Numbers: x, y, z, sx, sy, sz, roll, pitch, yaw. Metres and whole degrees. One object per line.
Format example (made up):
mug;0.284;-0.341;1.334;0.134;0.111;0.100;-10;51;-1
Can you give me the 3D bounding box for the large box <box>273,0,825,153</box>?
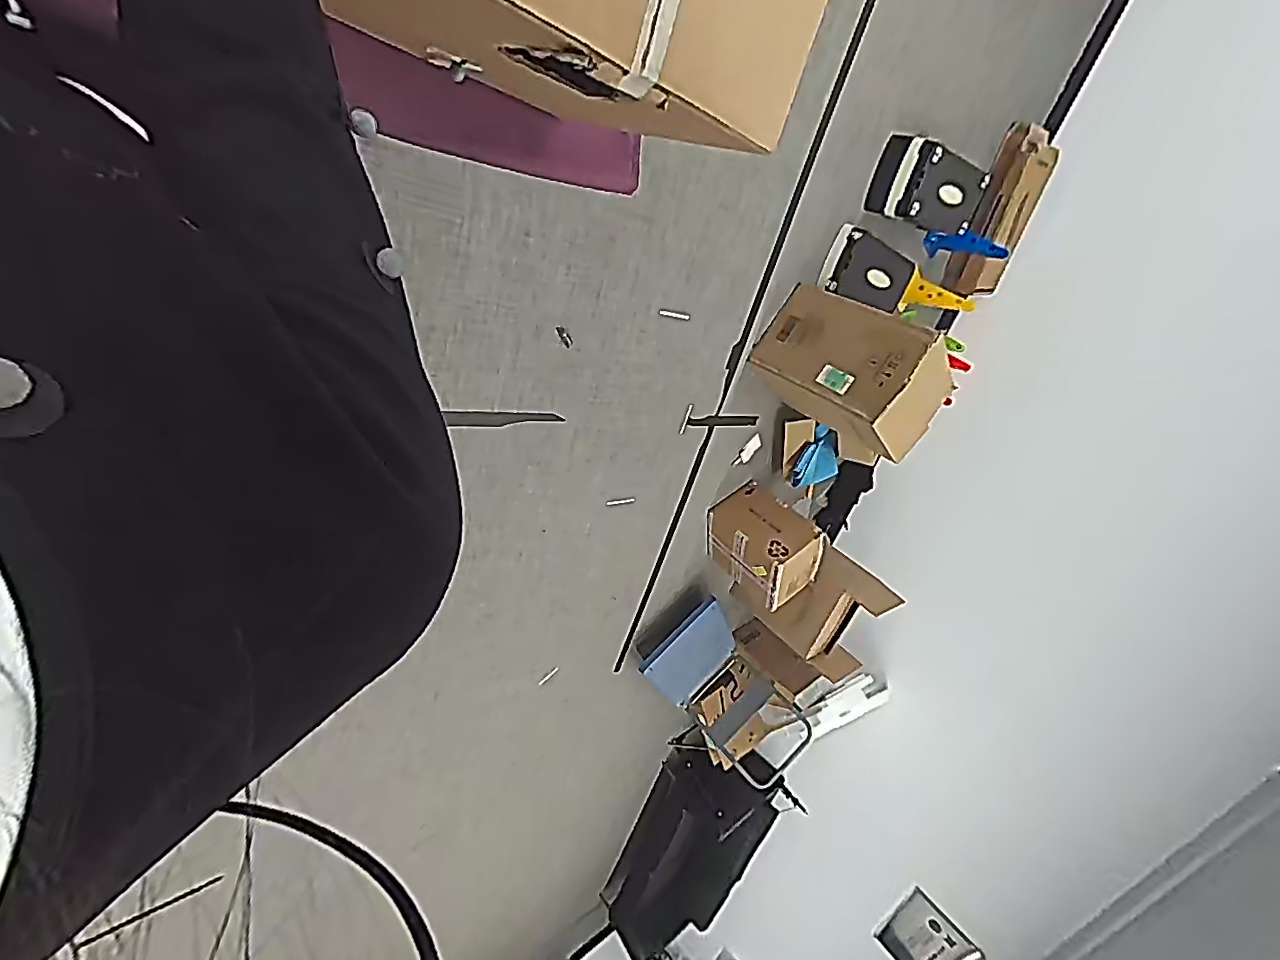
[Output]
large box;-0.042;-0.492;0.350;0.320;0.320;0.408;-8;124;-44
